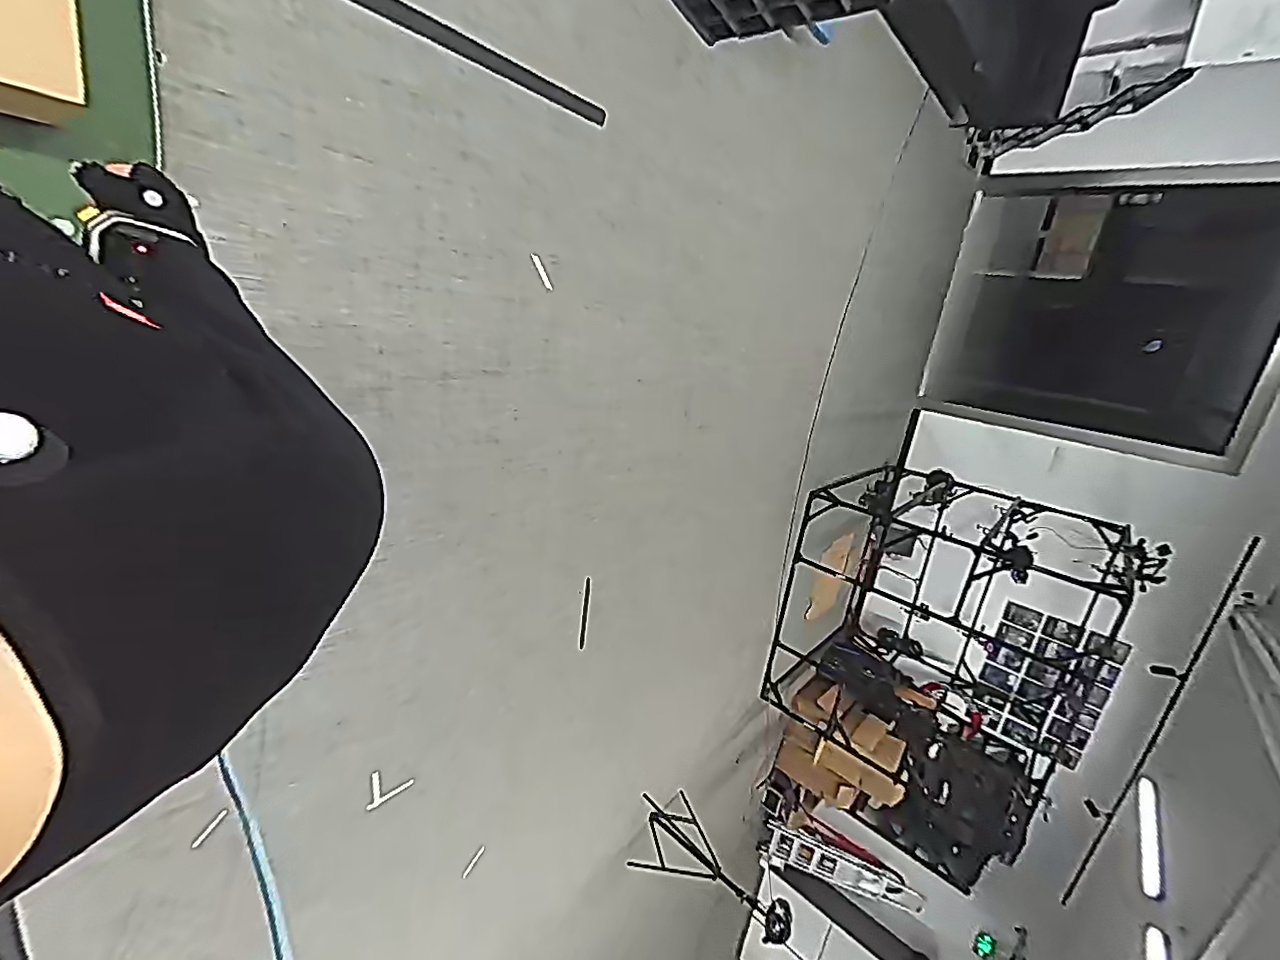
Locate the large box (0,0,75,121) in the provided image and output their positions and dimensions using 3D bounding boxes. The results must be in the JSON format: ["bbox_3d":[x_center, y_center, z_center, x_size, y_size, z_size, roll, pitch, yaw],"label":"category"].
[{"bbox_3d":[-1.025,-0.696,0.662,0.408,0.320,0.320,-12,116,-50],"label":"large box"}]
